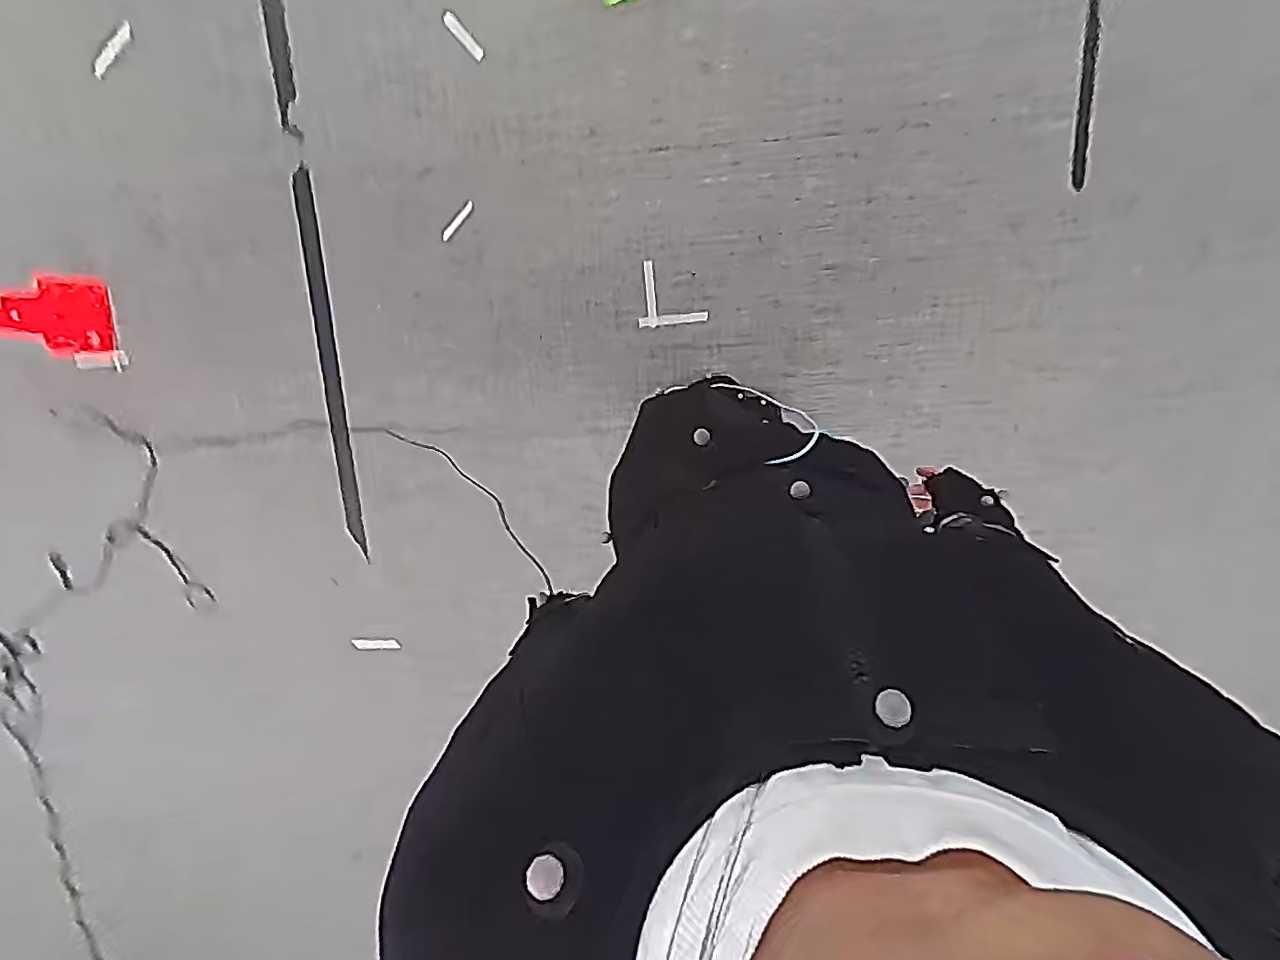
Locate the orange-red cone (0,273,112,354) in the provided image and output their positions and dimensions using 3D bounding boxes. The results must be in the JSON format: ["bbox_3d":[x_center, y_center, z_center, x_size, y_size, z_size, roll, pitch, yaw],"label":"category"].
[{"bbox_3d":[-1.517,-0.407,1.271,0.198,0.360,0.199,5,102,2],"label":"orange-red cone"}]
